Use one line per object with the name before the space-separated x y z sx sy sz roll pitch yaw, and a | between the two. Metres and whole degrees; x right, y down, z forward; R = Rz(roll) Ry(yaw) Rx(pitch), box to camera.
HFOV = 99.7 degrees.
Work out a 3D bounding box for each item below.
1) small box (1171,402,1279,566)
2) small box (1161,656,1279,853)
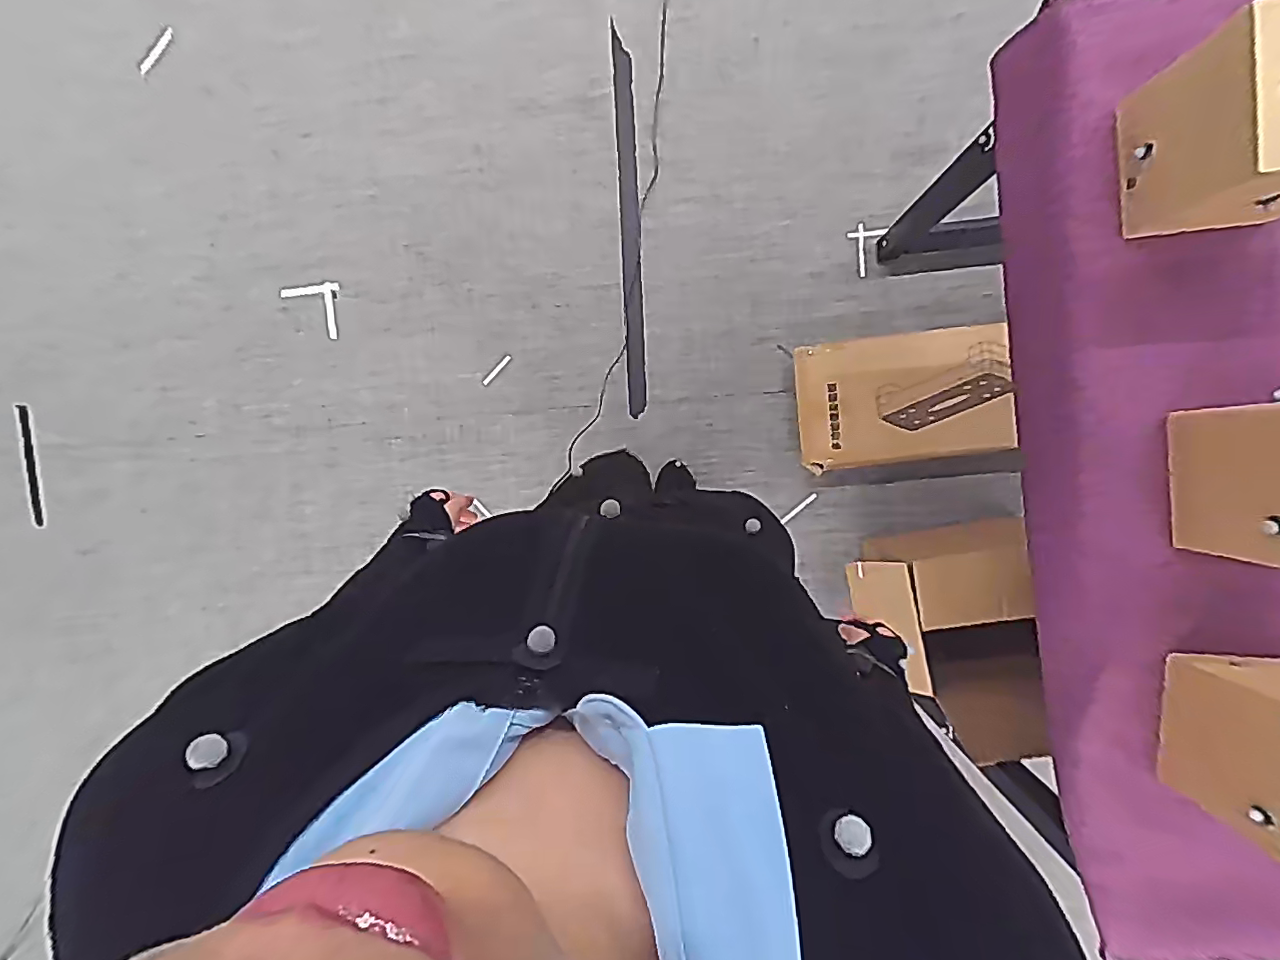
small box | 0.755 -0.001 0.606 0.168 0.176 0.179 -6 93 2
small box | 0.763 0.317 0.625 0.168 0.176 0.179 2 94 4
